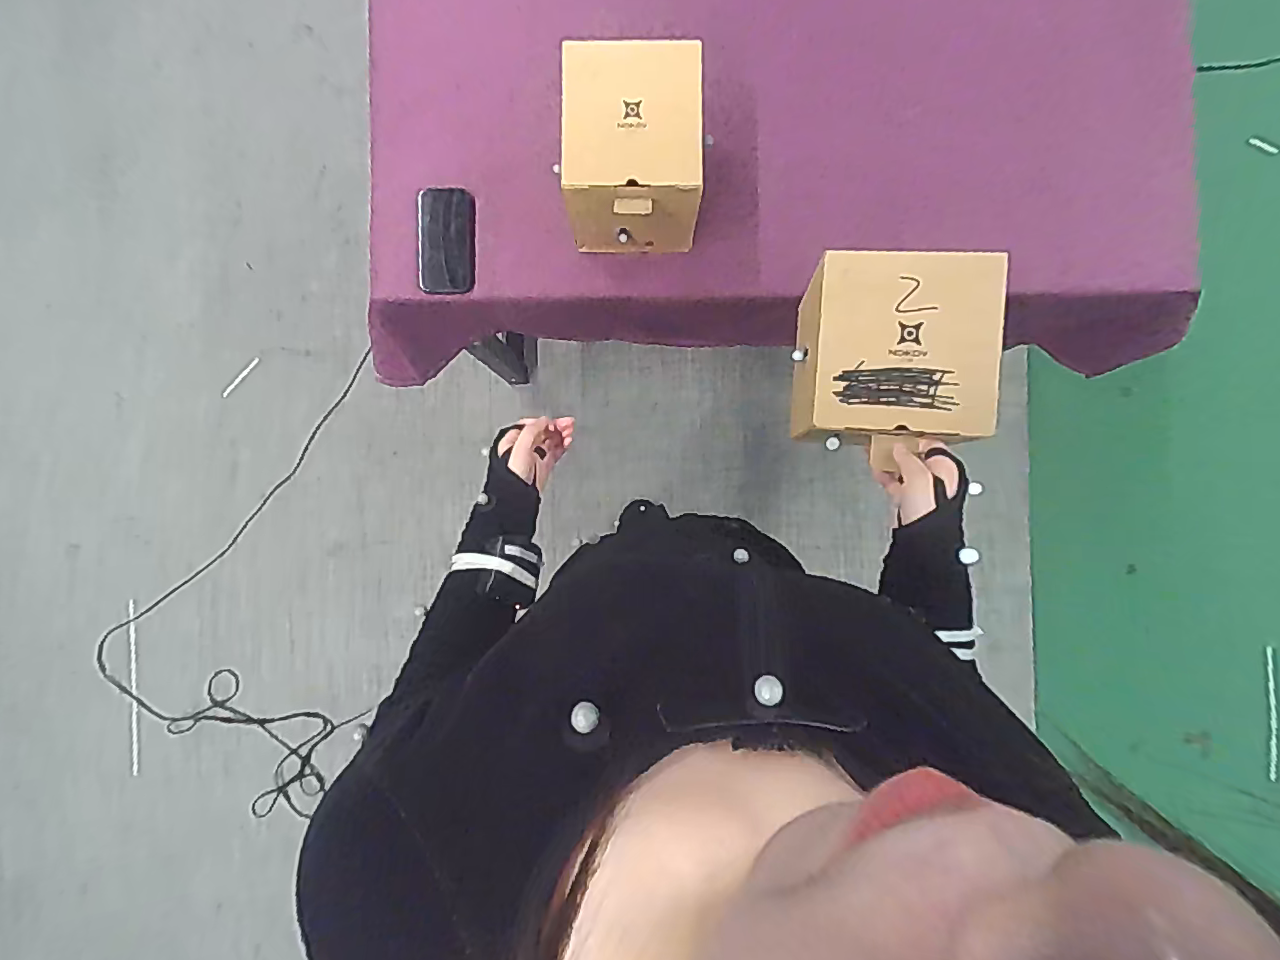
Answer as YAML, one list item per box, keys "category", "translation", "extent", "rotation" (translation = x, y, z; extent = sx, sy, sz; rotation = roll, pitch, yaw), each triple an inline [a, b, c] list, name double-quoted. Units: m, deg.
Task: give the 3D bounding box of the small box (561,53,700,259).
- category: "small box"
  translation: [-0.012, -0.418, 0.720]
  extent: [0.168, 0.176, 0.179]
  rotation: [0, 89, 0]
